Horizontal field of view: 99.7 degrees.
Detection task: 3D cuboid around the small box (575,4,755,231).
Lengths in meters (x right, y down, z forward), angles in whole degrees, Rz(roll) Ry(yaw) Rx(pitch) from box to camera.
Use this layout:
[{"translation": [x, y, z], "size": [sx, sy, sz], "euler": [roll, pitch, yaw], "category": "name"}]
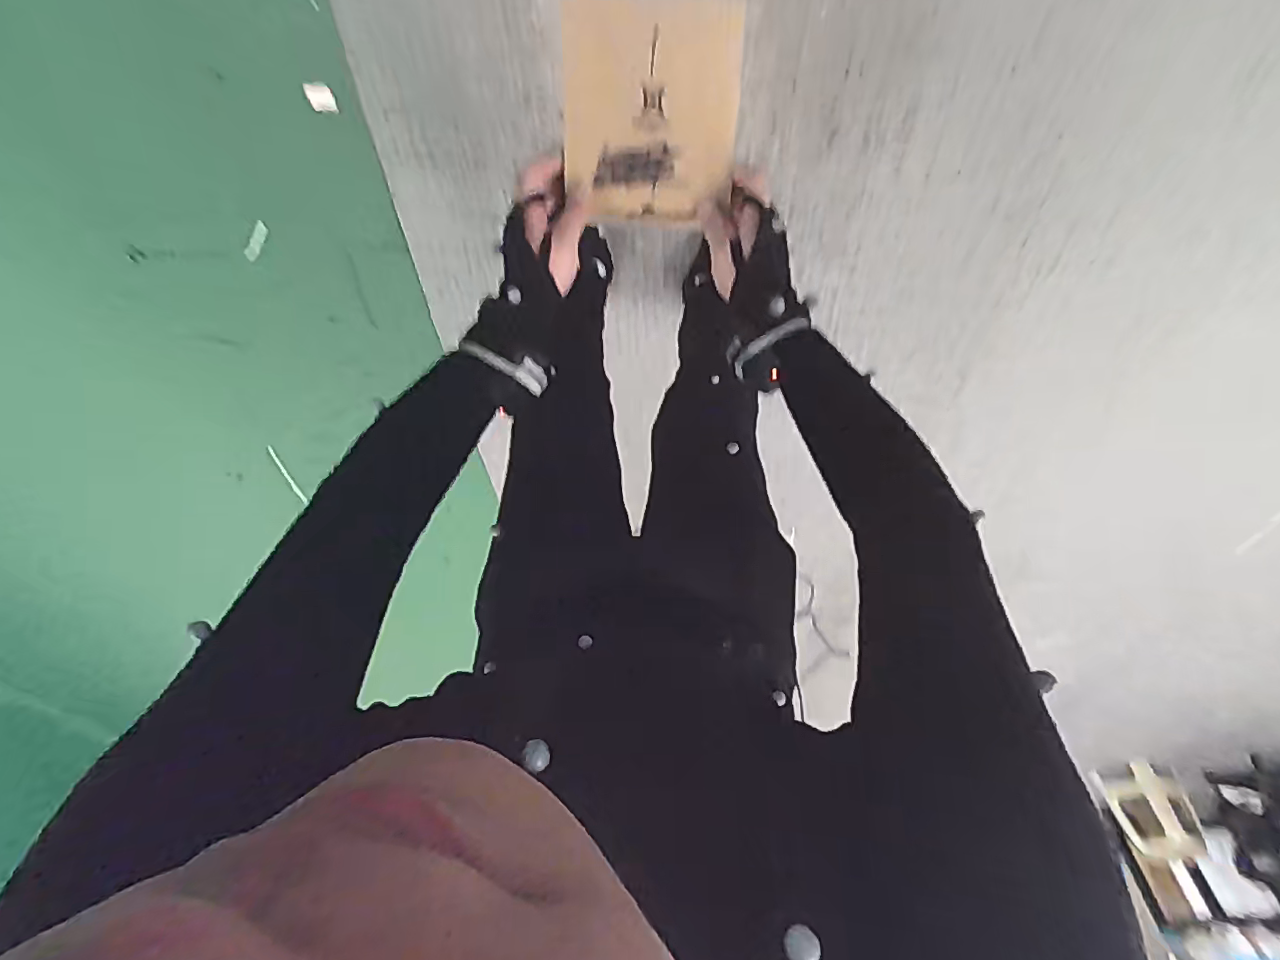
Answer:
[{"translation": [0.018, -0.373, 0.592], "size": [0.168, 0.176, 0.179], "euler": [1, 112, -3], "category": "small box"}]
